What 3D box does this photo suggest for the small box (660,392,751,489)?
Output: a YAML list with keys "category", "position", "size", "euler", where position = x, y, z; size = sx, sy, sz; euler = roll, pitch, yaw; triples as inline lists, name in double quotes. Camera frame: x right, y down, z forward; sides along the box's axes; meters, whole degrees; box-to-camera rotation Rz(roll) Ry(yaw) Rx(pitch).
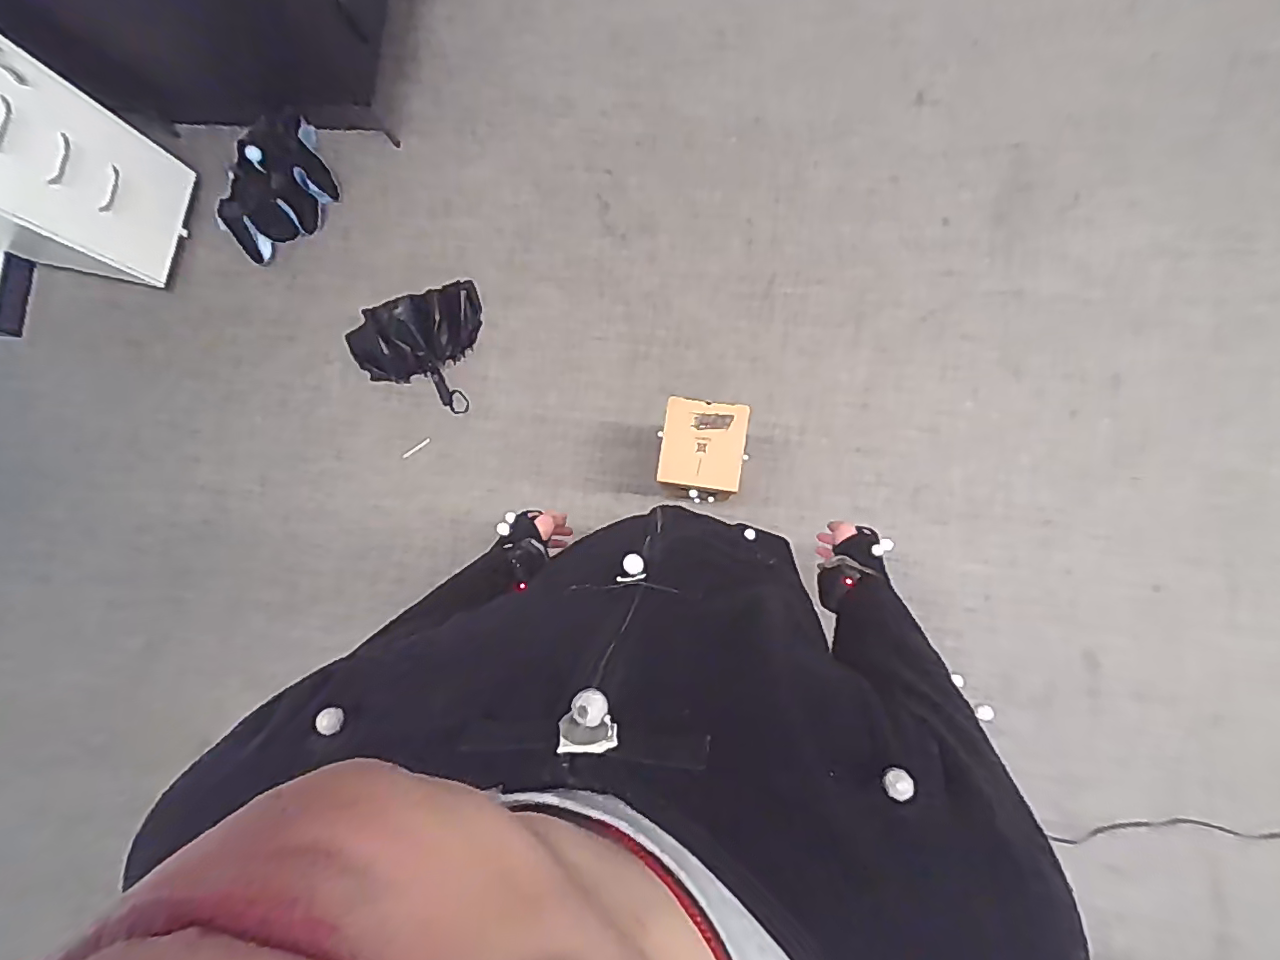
- category: "small box"
  position: [0.139, -0.079, 1.170]
  size: [0.168, 0.176, 0.179]
  euler: [8, 88, 6]
